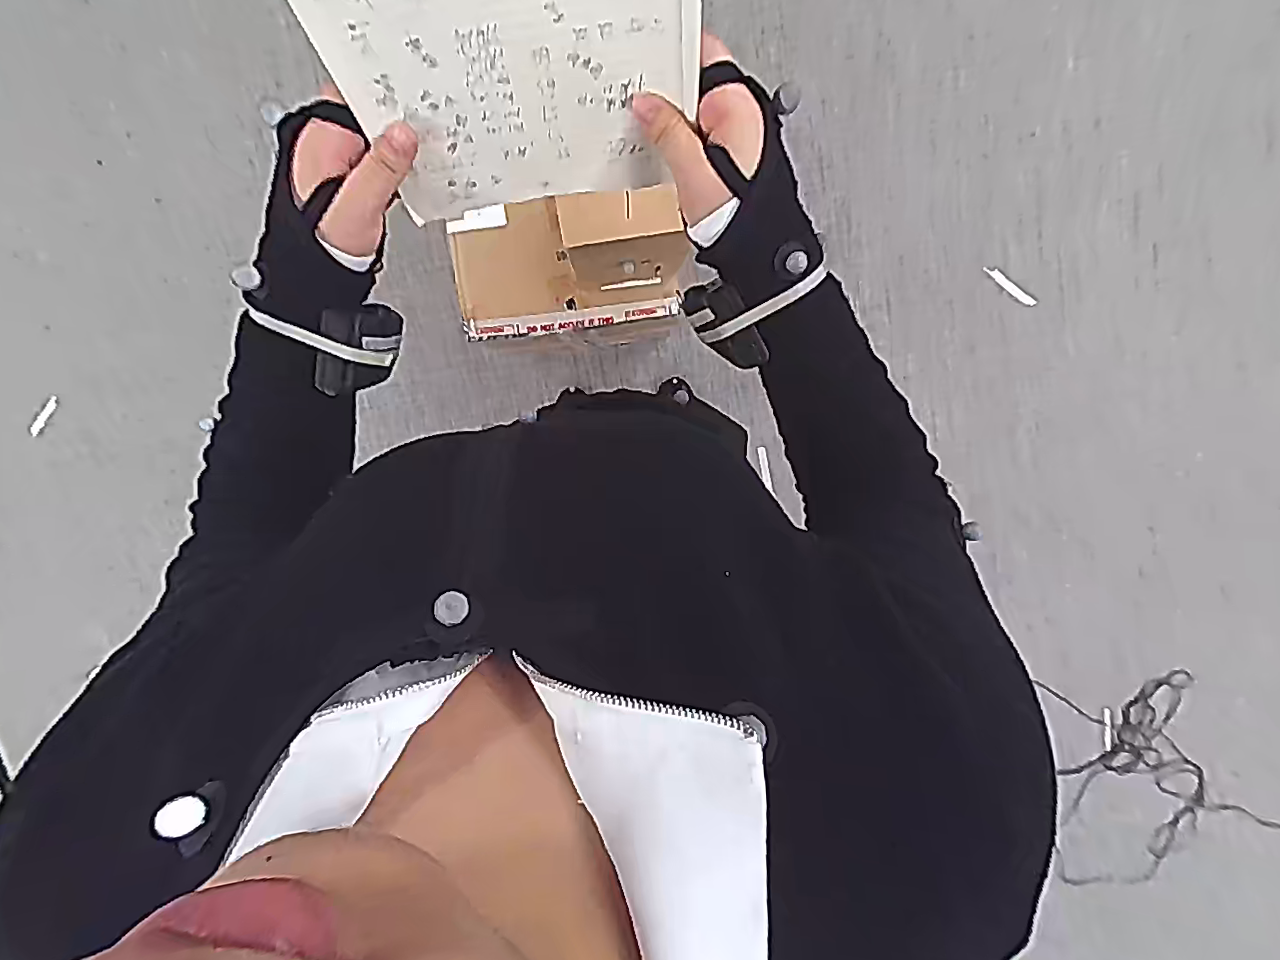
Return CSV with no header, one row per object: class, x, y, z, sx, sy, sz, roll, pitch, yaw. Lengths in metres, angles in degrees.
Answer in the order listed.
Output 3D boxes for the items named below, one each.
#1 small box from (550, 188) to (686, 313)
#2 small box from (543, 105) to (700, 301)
small box,-0.033,-0.371,0.861,0.179,0.176,0.168,-11,100,1
small box,-0.023,-0.342,0.699,0.168,0.176,0.179,-8,101,-1
